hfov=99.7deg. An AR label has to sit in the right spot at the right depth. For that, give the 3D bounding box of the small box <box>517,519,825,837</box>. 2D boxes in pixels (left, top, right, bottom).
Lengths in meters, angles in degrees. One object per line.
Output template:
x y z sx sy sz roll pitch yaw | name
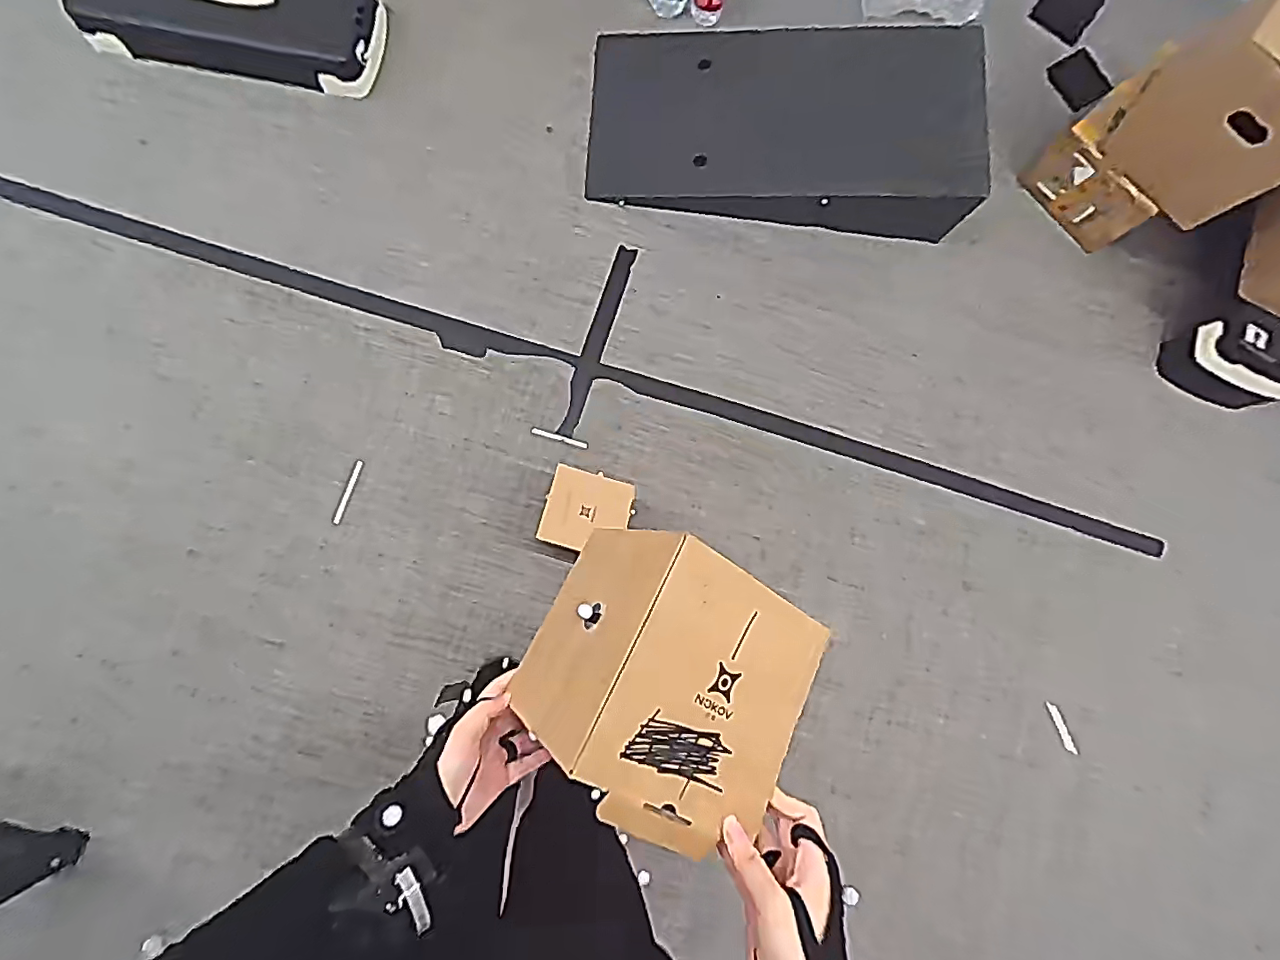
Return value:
0.015 0.149 0.458 0.168 0.176 0.179 36 70 -22 | small box

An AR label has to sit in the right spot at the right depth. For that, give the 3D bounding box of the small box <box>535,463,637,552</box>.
-0.119 0.075 1.194 0.179 0.176 0.168 17 80 -4 | small box
